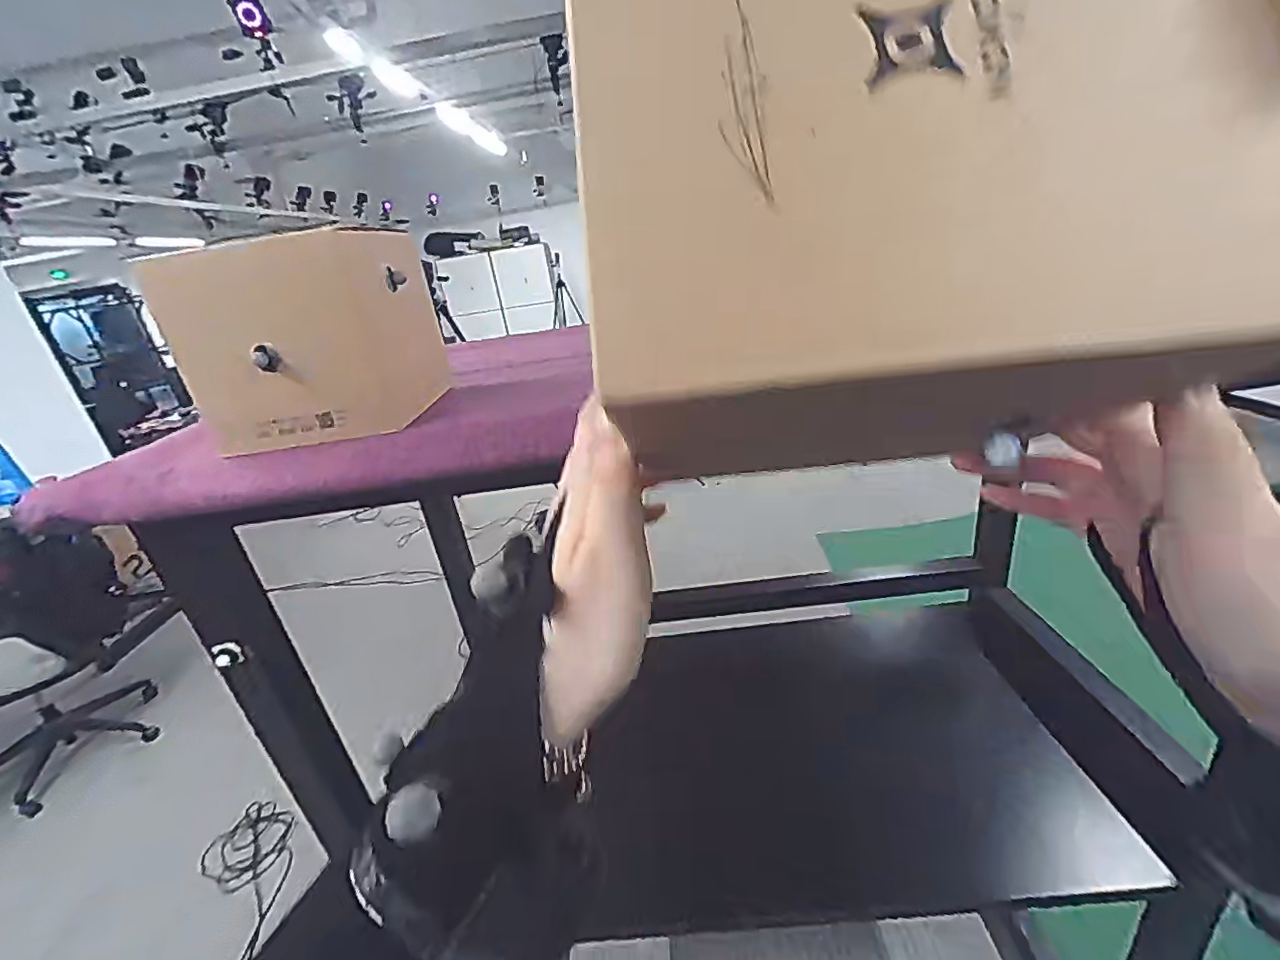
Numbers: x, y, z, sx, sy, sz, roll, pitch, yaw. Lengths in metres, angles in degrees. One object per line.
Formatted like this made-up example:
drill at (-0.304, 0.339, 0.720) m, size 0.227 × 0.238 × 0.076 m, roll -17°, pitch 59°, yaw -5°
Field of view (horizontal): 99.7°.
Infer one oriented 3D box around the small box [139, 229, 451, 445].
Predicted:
small box at (-0.302, -0.138, 0.526) m, size 0.168 × 0.176 × 0.179 m, roll -7°, pitch 23°, yaw 1°

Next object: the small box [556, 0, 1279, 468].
small box at (0.073, -0.103, 0.220) m, size 0.179 × 0.168 × 0.176 m, roll -6°, pitch -9°, yaw 6°
